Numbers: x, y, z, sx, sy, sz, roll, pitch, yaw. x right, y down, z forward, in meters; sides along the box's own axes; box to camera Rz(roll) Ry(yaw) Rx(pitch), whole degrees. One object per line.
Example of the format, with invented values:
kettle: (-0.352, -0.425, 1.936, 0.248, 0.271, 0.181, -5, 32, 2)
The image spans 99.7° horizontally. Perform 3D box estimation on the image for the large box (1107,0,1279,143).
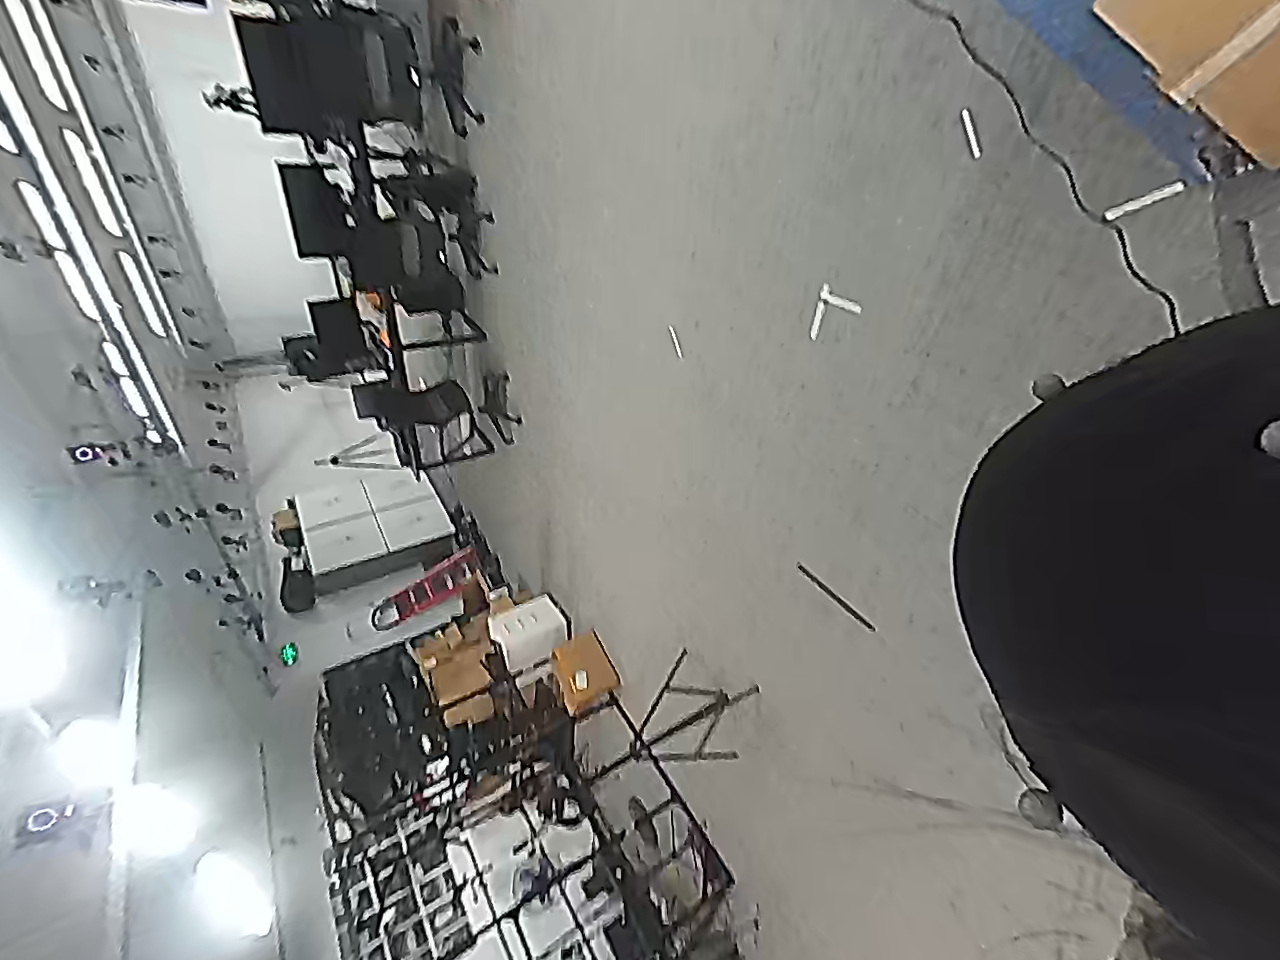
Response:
large box: (0.852, -0.677, 0.594, 0.320, 0.320, 0.408, 43, 146, 2)
